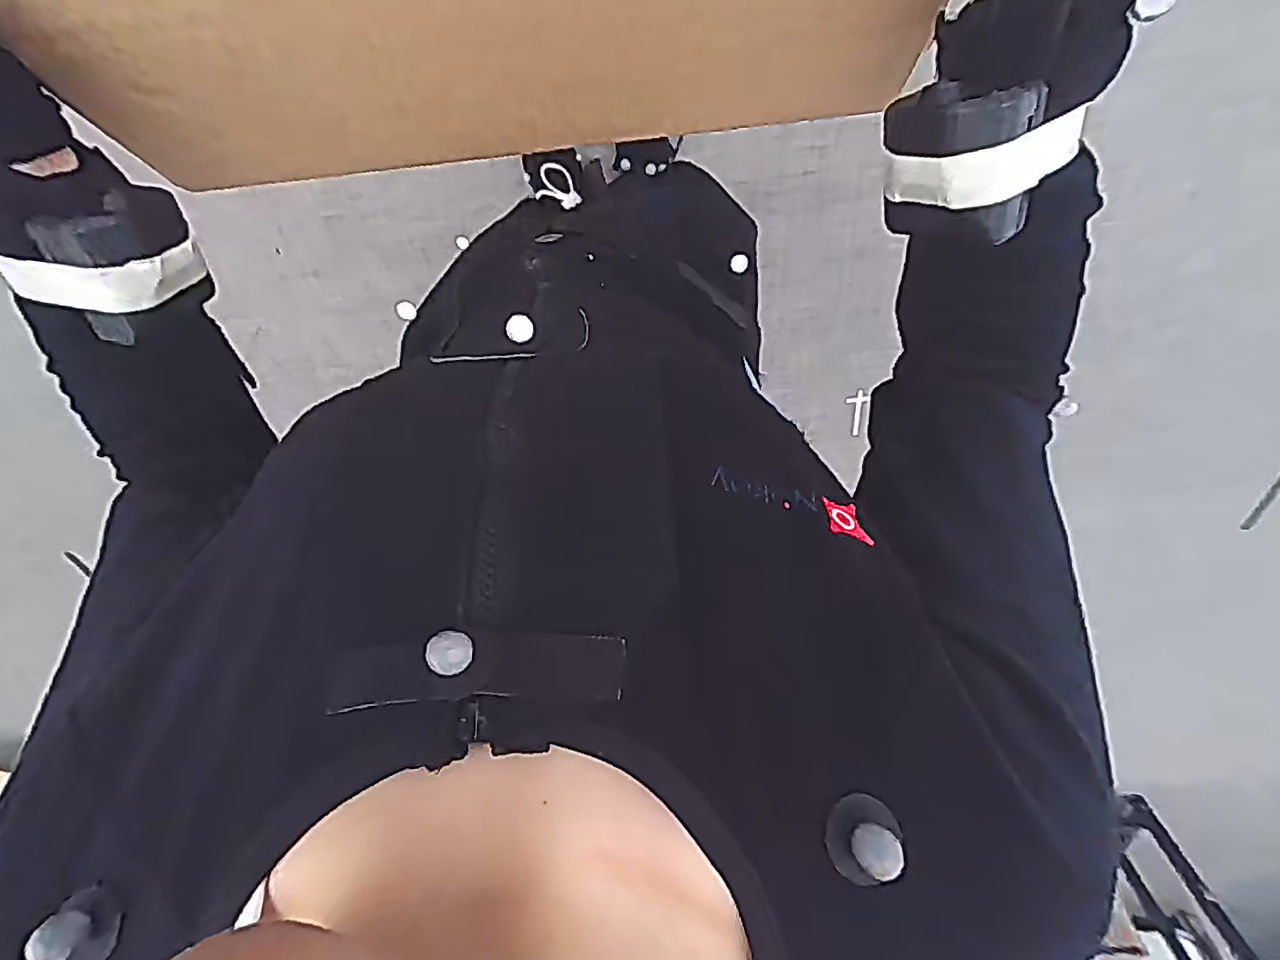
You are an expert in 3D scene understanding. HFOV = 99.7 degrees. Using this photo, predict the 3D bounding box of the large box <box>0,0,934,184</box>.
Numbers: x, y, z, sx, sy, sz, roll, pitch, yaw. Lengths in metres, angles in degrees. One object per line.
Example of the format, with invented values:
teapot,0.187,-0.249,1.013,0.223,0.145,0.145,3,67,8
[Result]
large box,-0.082,-0.360,0.180,0.408,0.320,0.320,-5,83,2
